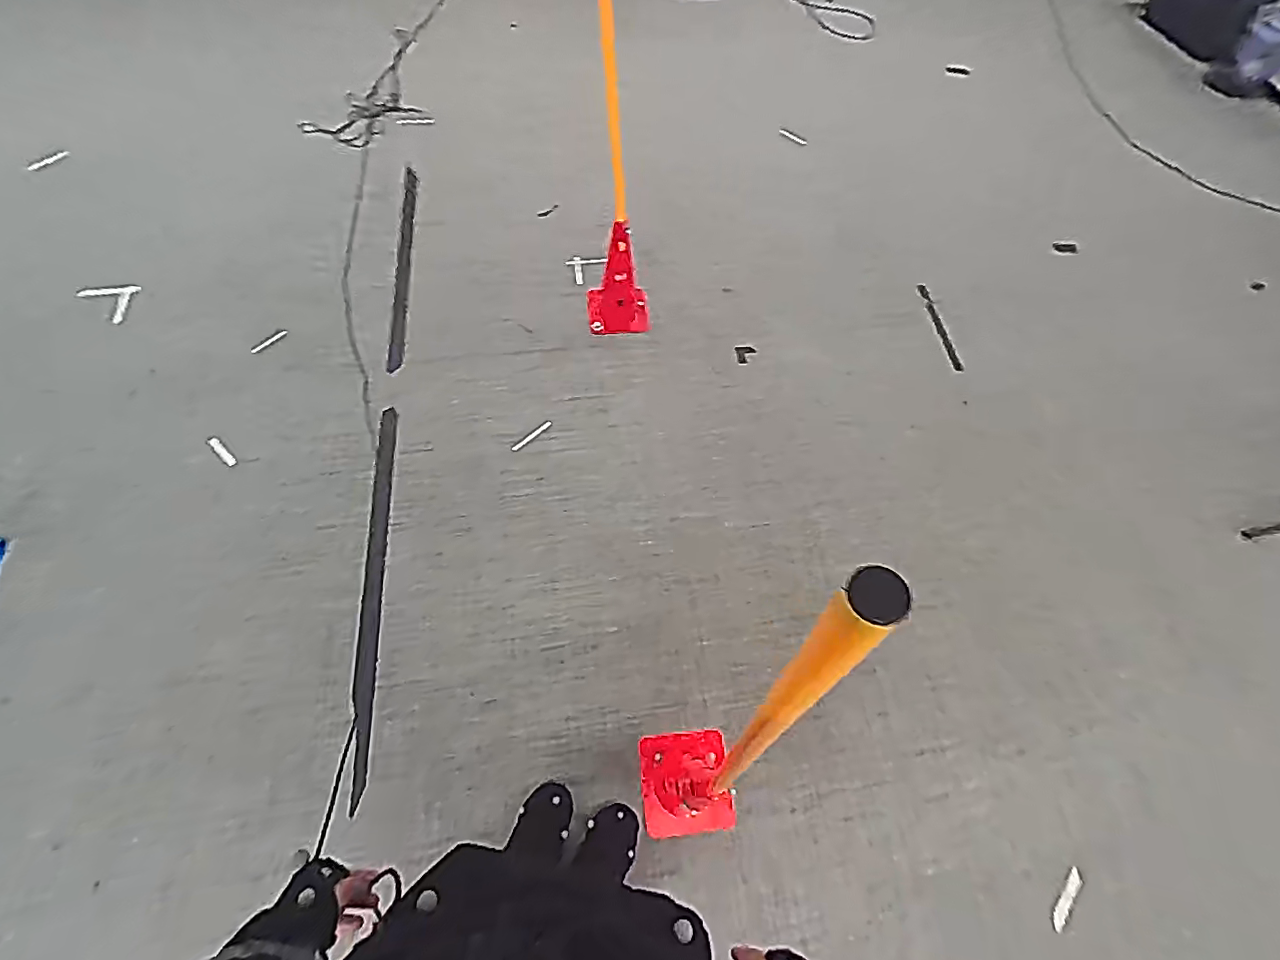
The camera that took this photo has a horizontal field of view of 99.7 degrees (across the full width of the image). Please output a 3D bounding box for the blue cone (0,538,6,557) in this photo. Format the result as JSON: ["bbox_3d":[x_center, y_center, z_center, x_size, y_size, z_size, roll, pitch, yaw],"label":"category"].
[{"bbox_3d":[-1.675,0.158,1.175,0.193,0.380,0.192,-2,62,-5],"label":"blue cone"}]

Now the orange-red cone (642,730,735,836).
[{"bbox_3d":[0.116,0.591,1.048,0.198,0.360,0.199,-3,64,-5],"label":"orange-red cone"}]
